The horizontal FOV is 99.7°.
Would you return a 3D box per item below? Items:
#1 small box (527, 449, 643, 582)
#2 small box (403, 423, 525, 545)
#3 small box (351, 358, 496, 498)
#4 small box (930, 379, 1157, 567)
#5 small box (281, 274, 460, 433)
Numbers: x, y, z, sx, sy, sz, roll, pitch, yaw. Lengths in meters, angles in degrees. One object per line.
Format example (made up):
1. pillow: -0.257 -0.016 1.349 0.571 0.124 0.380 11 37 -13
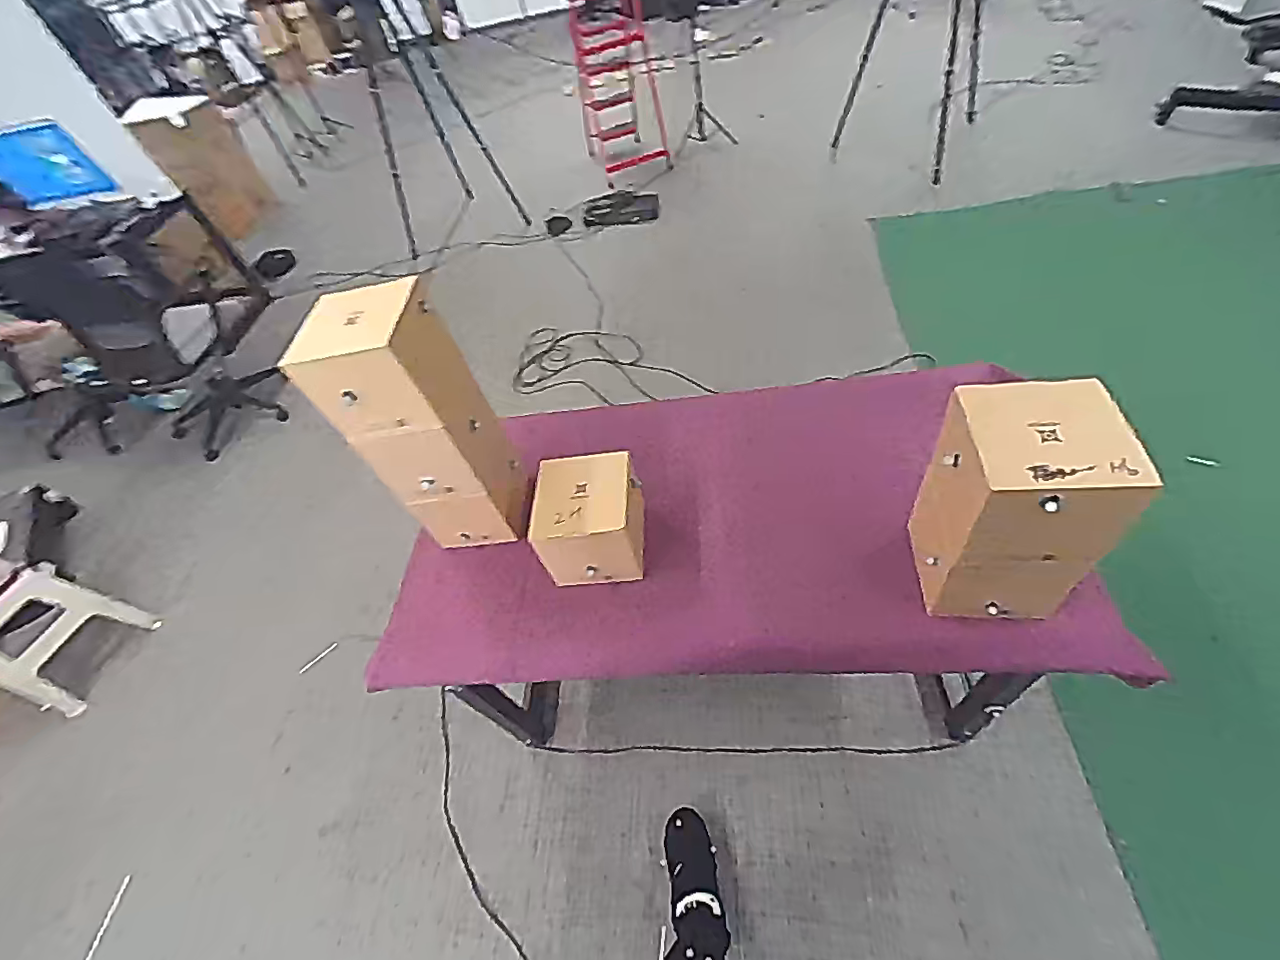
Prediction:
1. small box: -0.091 0.068 0.993 0.168 0.176 0.179 -6 51 9
2. small box: -0.345 0.011 1.099 0.168 0.176 0.179 -7 52 8
3. small box: -0.373 -0.090 0.973 0.168 0.176 0.179 -7 52 9
4. small box: 0.492 -0.007 0.699 0.168 0.176 0.179 -2 50 14
5. small box: -0.404 -0.189 0.849 0.168 0.176 0.179 -8 51 8
